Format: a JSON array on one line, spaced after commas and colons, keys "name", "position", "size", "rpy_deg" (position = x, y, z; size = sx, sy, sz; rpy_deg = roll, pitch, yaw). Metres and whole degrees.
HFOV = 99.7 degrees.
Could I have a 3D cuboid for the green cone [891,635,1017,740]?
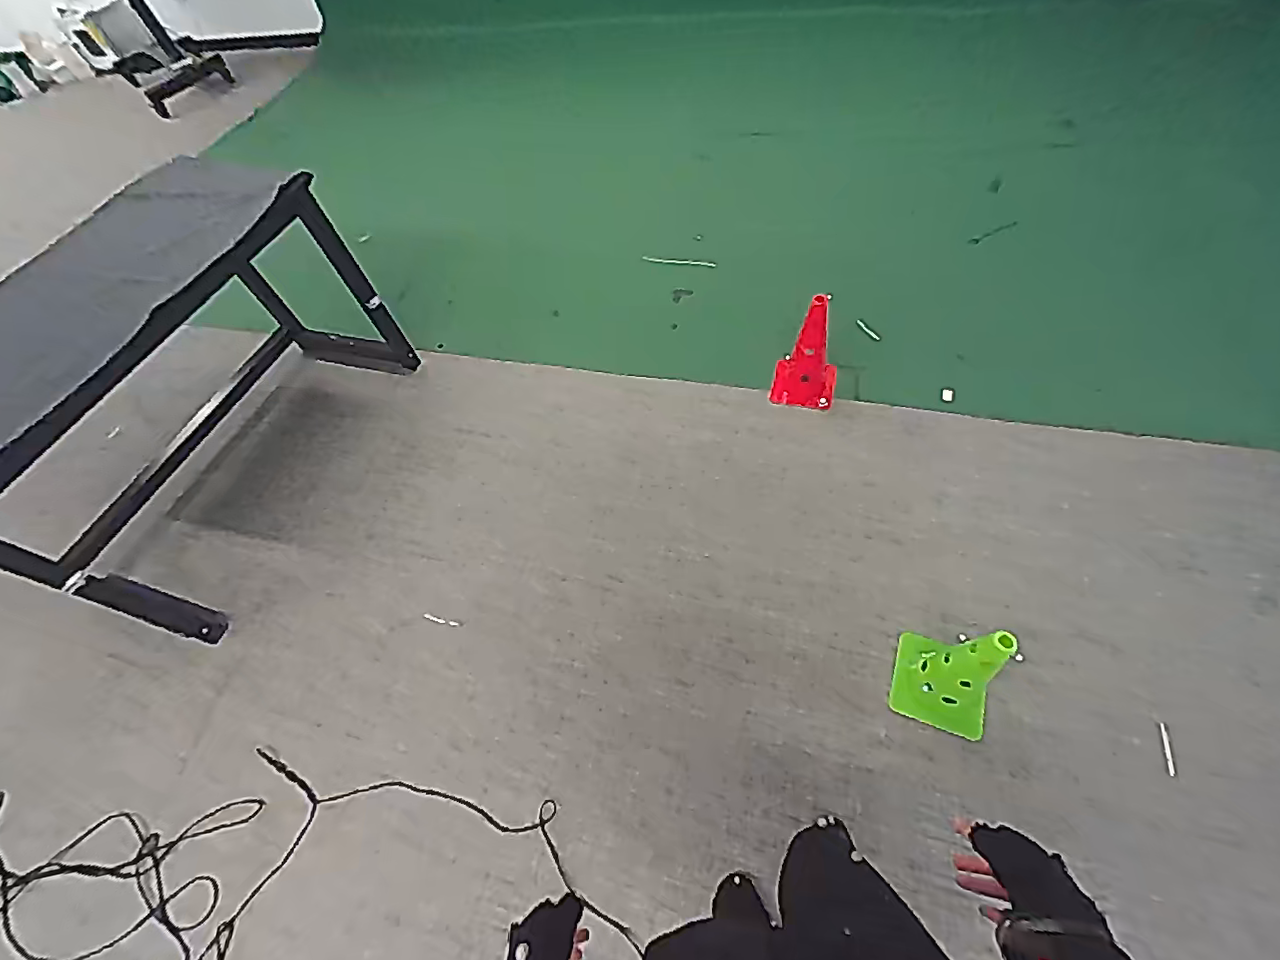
[{"name": "green cone", "position": [0.693, 0.395, 1.146], "size": [0.200, 0.368, 0.202], "rpy_deg": [15, 61, 18]}]
